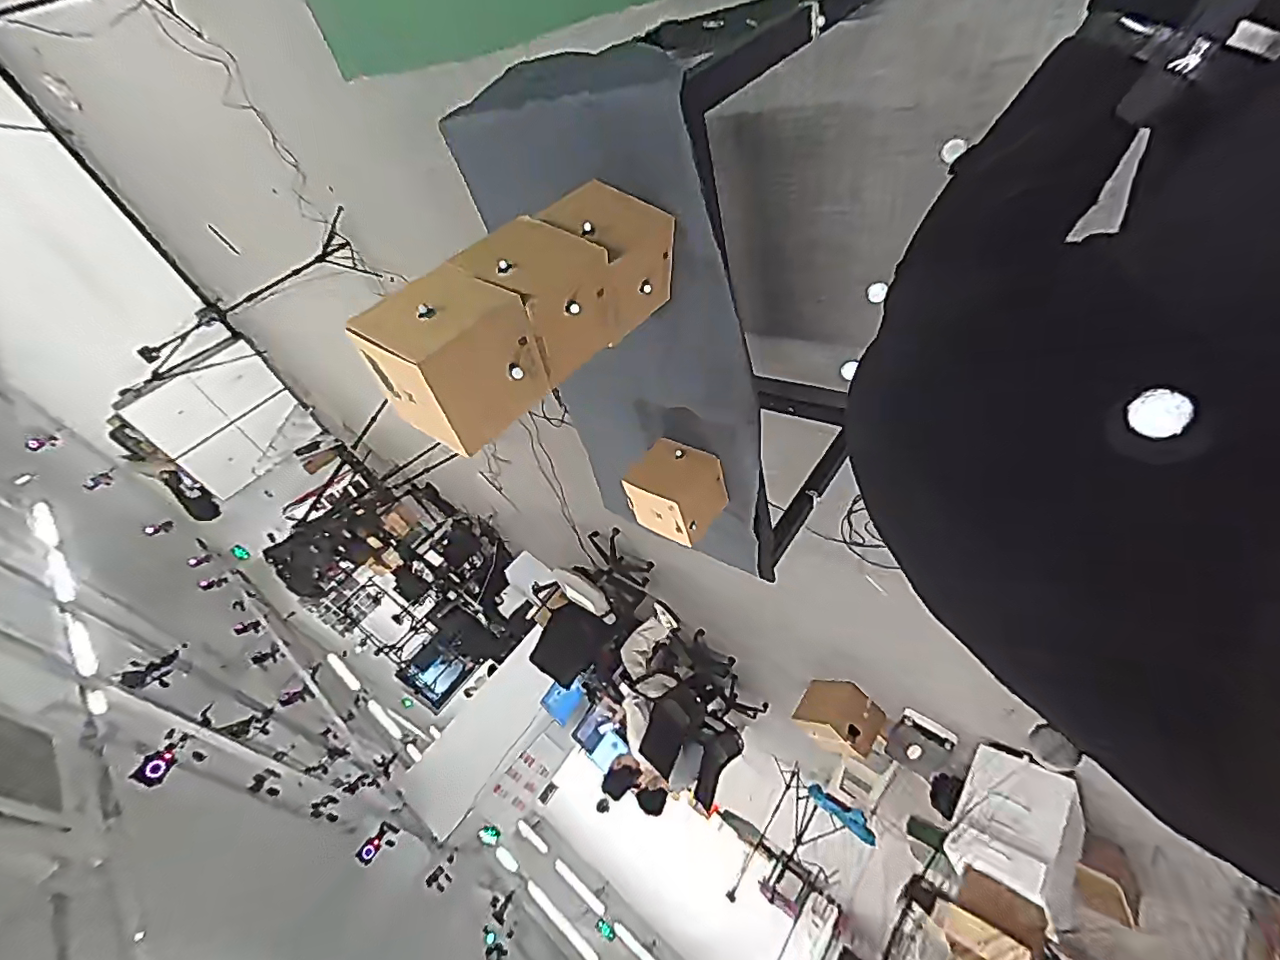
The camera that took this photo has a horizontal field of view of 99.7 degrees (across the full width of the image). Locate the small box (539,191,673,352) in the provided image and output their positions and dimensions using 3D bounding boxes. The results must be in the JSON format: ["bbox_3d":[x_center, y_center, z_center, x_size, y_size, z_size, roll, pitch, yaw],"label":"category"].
[{"bbox_3d":[-0.060,-0.361,0.927,0.179,0.176,0.168,34,153,20],"label":"small box"}]

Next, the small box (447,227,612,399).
[{"bbox_3d":[-0.156,-0.263,0.838,0.179,0.176,0.168,32,151,24],"label":"small box"}]

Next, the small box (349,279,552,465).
[{"bbox_3d":[-0.254,-0.158,0.759,0.179,0.176,0.168,27,150,29],"label":"small box"}]

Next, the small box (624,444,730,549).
[{"bbox_3d":[0.094,0.033,1.327,0.179,0.176,0.168,22,148,37],"label":"small box"}]
